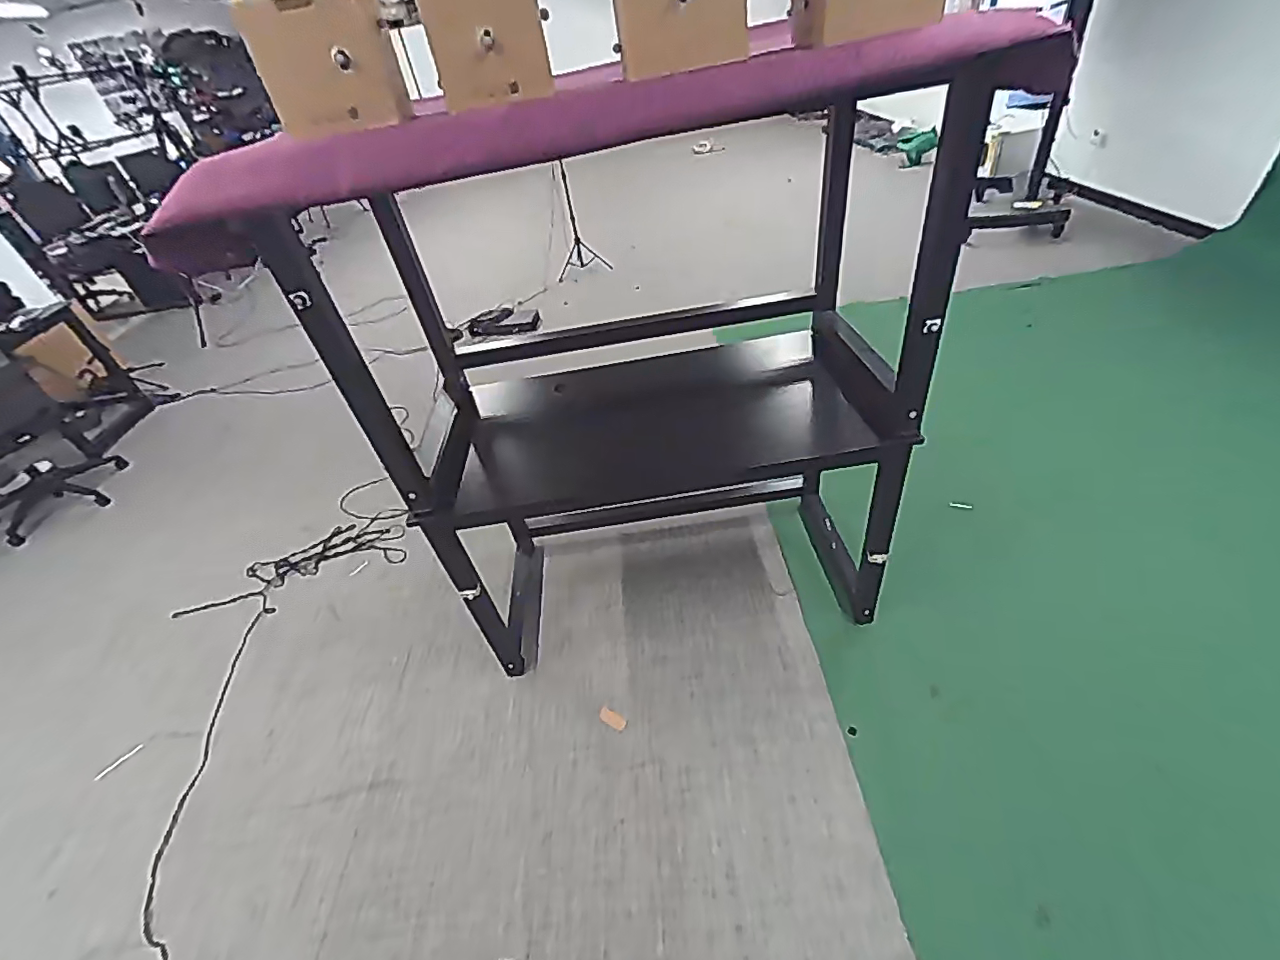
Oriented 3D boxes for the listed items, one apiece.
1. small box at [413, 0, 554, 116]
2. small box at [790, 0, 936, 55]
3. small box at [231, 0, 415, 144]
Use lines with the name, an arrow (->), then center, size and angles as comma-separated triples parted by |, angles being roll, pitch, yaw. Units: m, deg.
small box -> -0.231, -0.678, 0.834 | 0.168, 0.176, 0.179 | -11, 39, -1
small box -> 0.326, -0.748, 0.790 | 0.179, 0.176, 0.168 | -10, 40, 3
small box -> -0.468, -0.632, 0.834 | 0.168, 0.176, 0.179 | -12, 38, -3
